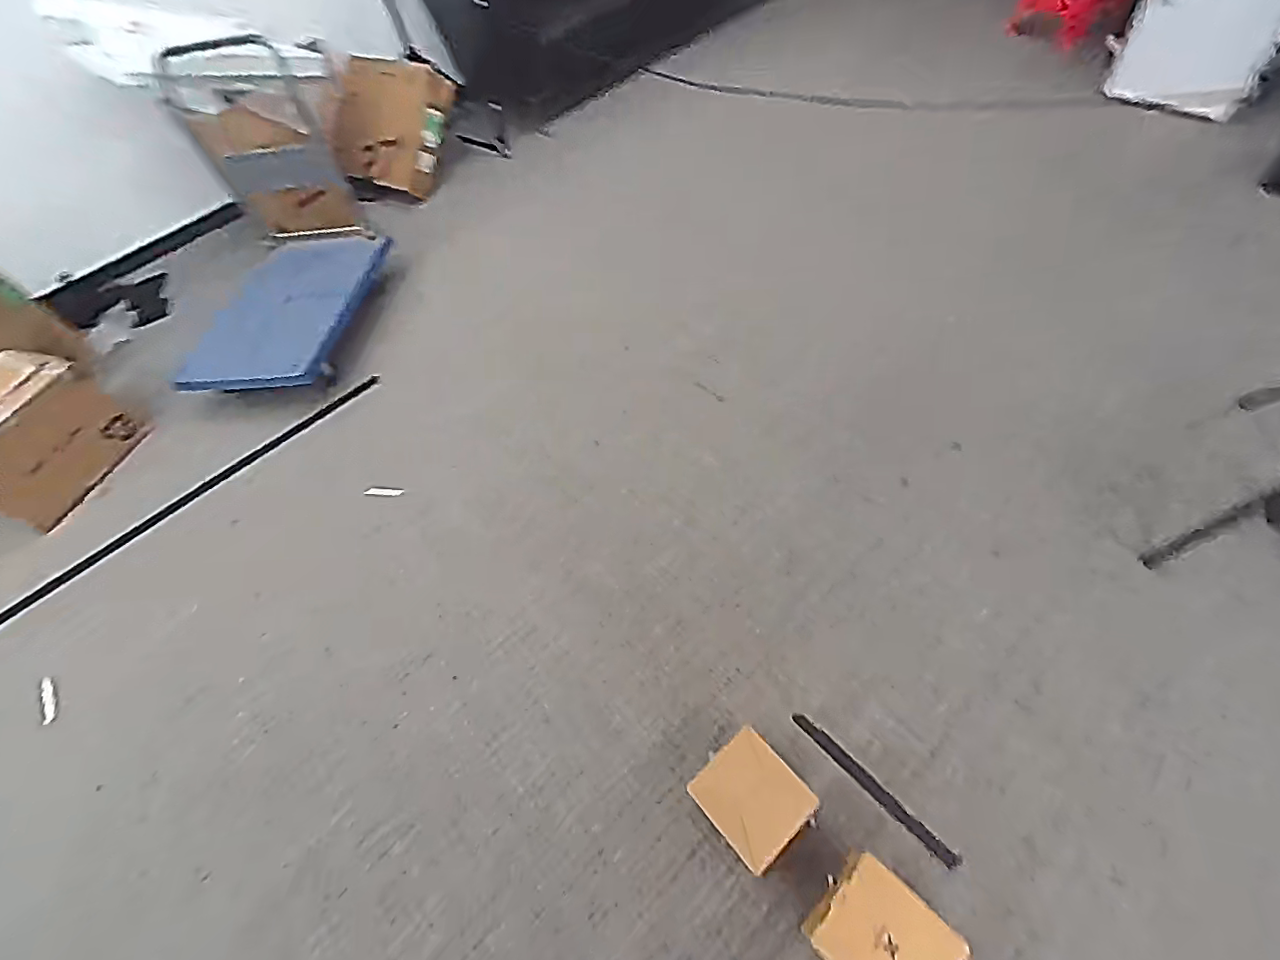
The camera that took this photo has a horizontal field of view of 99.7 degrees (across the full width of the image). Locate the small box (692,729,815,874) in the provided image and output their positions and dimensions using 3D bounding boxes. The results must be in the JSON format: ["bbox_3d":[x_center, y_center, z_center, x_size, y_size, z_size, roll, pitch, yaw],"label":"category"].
[{"bbox_3d":[0.213,0.608,1.025,0.168,0.176,0.179,-39,58,-15],"label":"small box"}]

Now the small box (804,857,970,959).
[{"bbox_3d":[0.393,0.759,0.891,0.179,0.176,0.168,36,69,30],"label":"small box"}]
